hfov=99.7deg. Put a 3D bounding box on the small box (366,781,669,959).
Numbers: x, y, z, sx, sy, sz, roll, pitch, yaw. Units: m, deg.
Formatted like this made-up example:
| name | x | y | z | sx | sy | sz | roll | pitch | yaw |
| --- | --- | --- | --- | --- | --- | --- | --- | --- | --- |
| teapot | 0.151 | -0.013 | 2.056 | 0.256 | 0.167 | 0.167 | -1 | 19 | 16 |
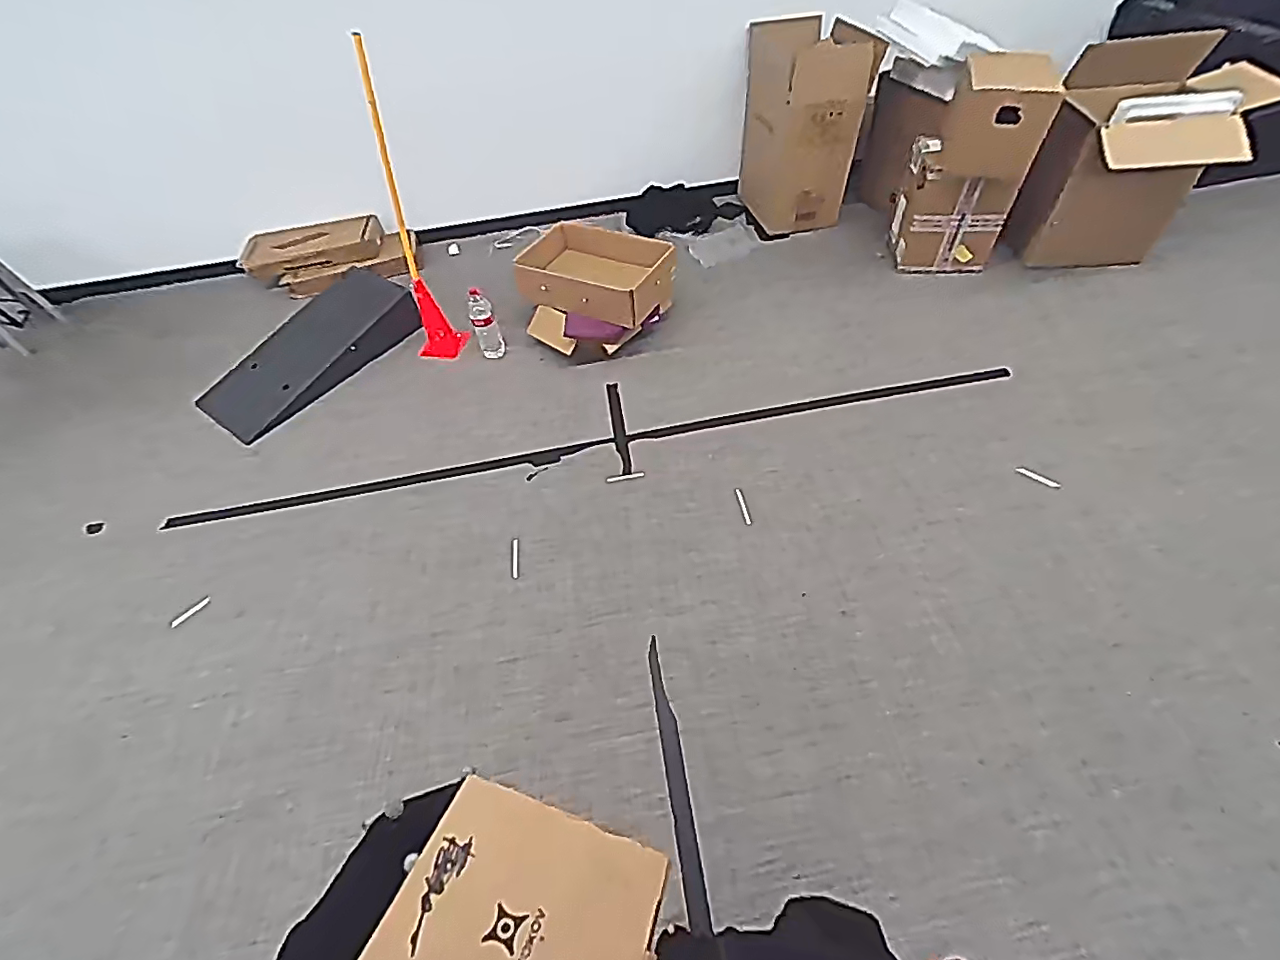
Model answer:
| name | x | y | z | sx | sy | sz | roll | pitch | yaw |
| --- | --- | --- | --- | --- | --- | --- | --- | --- | --- |
| small box | -0.095 | 0.377 | 0.410 | 0.179 | 0.176 | 0.168 | 17 | 33 | 10 |
